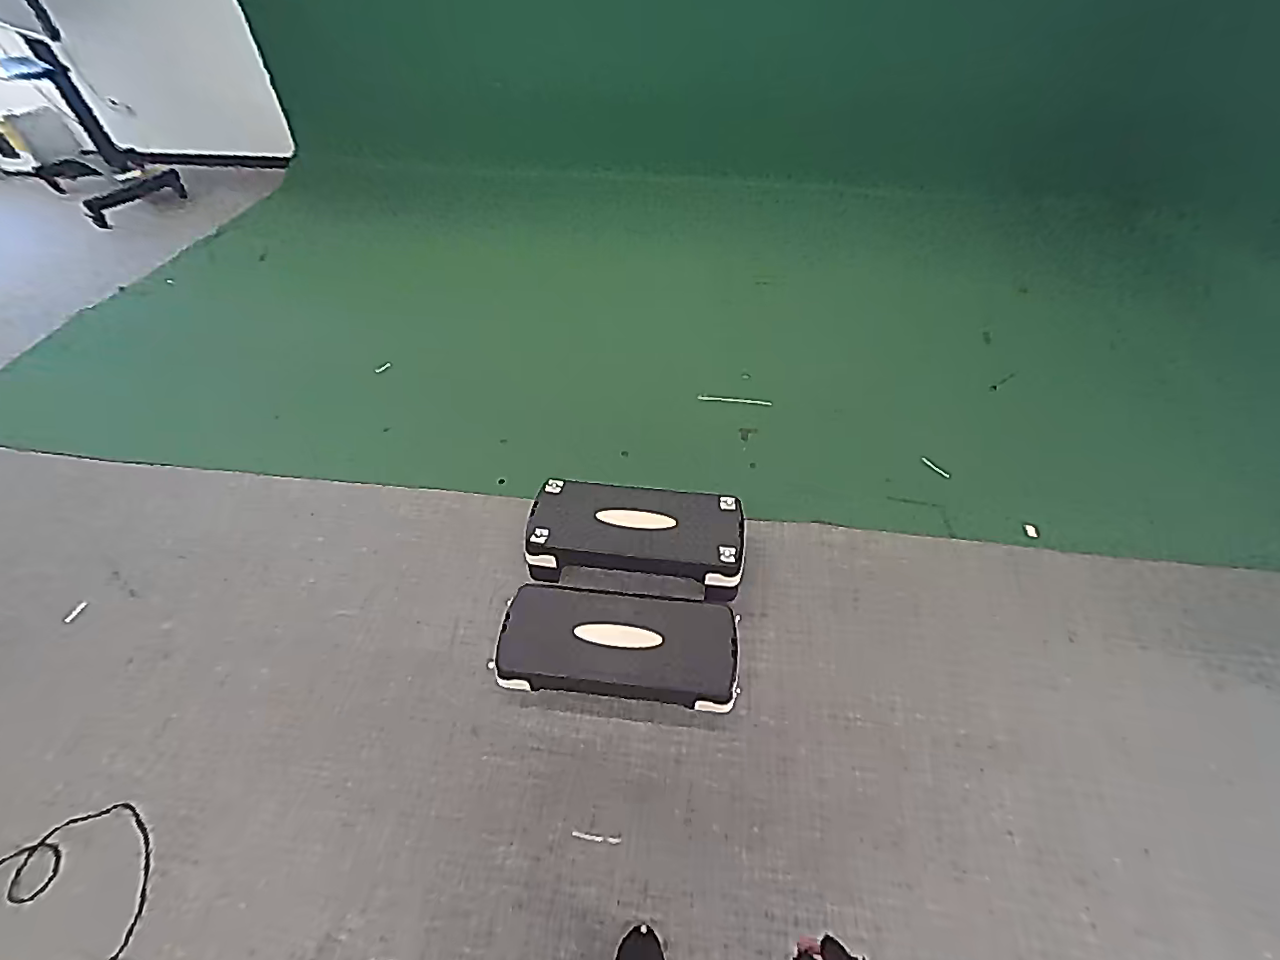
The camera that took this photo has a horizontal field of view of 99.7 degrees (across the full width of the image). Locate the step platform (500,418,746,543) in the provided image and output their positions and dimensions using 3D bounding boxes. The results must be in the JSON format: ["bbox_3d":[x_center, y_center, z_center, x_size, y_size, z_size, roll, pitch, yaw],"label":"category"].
[{"bbox_3d":[-0.044,0.002,1.589,0.684,0.204,0.286,5,49,5],"label":"step platform"}]
